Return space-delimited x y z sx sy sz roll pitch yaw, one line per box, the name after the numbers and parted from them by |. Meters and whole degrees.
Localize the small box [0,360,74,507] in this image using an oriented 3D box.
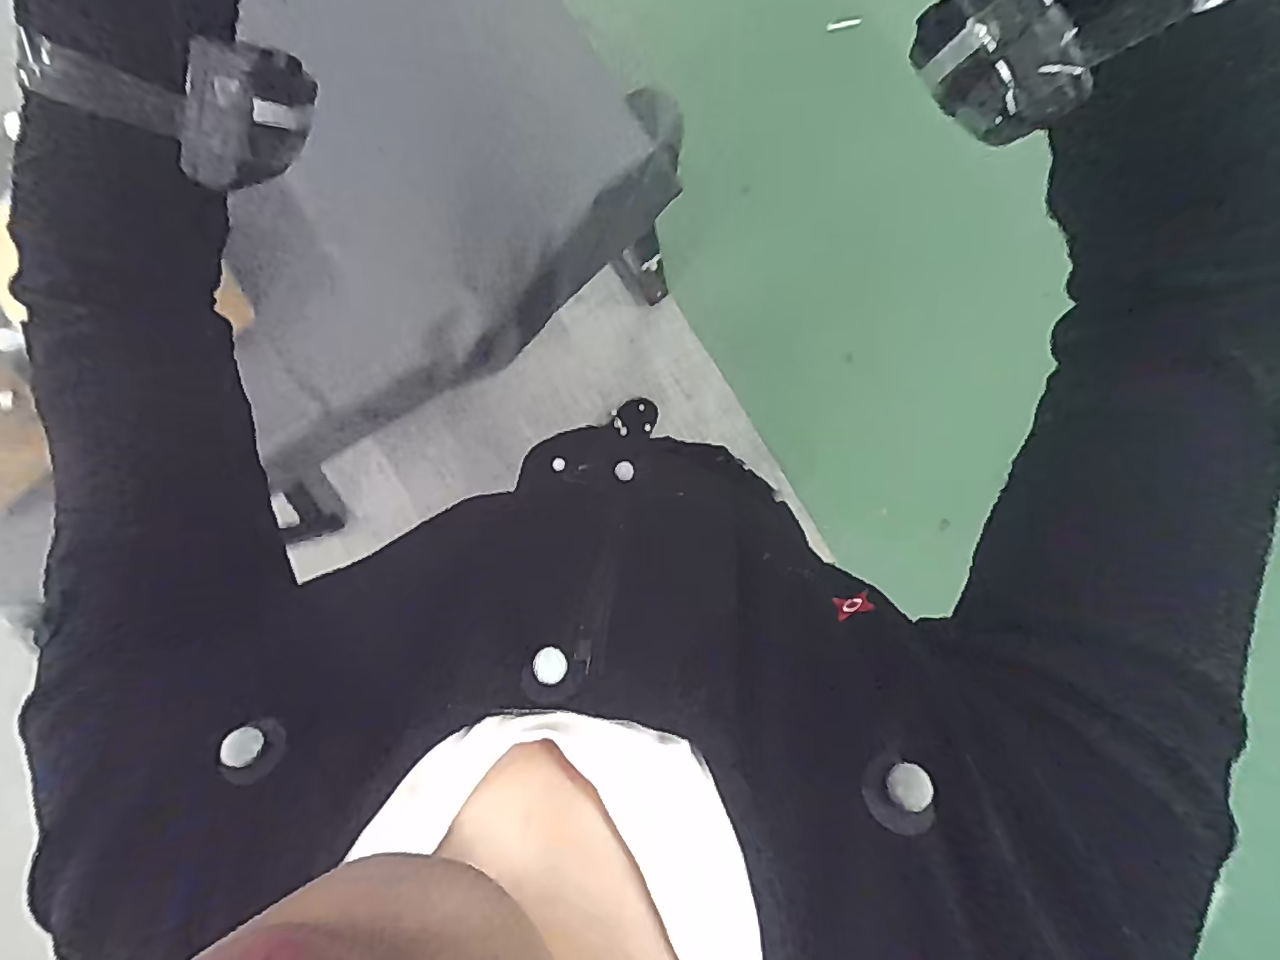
-0.969 -0.062 0.749 0.179 0.176 0.168 -37 91 6 | small box
